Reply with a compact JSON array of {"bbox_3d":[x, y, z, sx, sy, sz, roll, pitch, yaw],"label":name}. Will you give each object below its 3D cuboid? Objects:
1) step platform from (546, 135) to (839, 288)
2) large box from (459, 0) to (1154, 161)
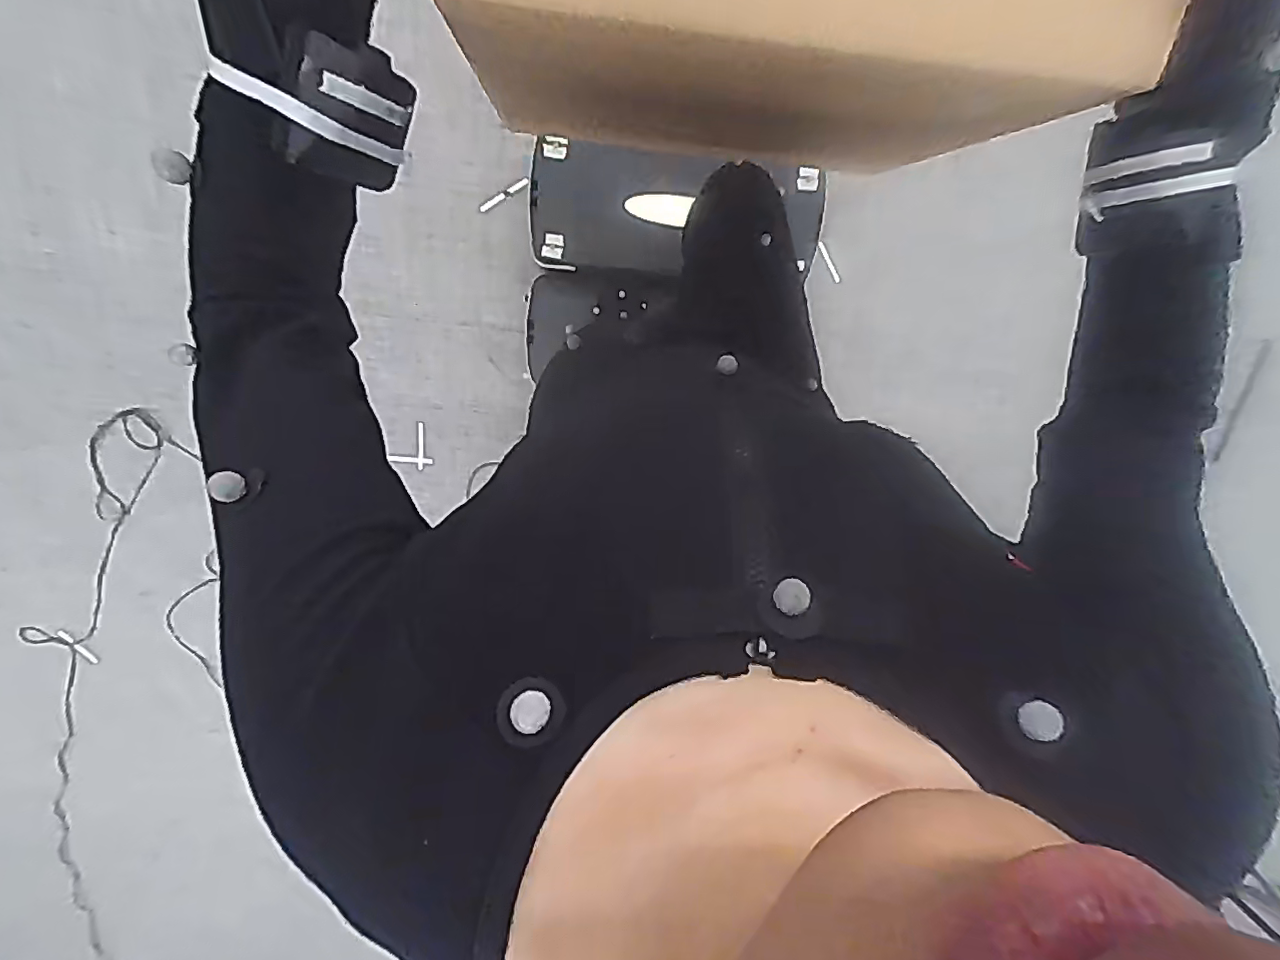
[{"bbox_3d":[0.119,-0.641,1.306,0.684,0.204,0.286,3,108,-6],"label":"step platform"},{"bbox_3d":[0.088,-0.441,0.382,0.408,0.320,0.320,1,112,-7],"label":"large box"}]
